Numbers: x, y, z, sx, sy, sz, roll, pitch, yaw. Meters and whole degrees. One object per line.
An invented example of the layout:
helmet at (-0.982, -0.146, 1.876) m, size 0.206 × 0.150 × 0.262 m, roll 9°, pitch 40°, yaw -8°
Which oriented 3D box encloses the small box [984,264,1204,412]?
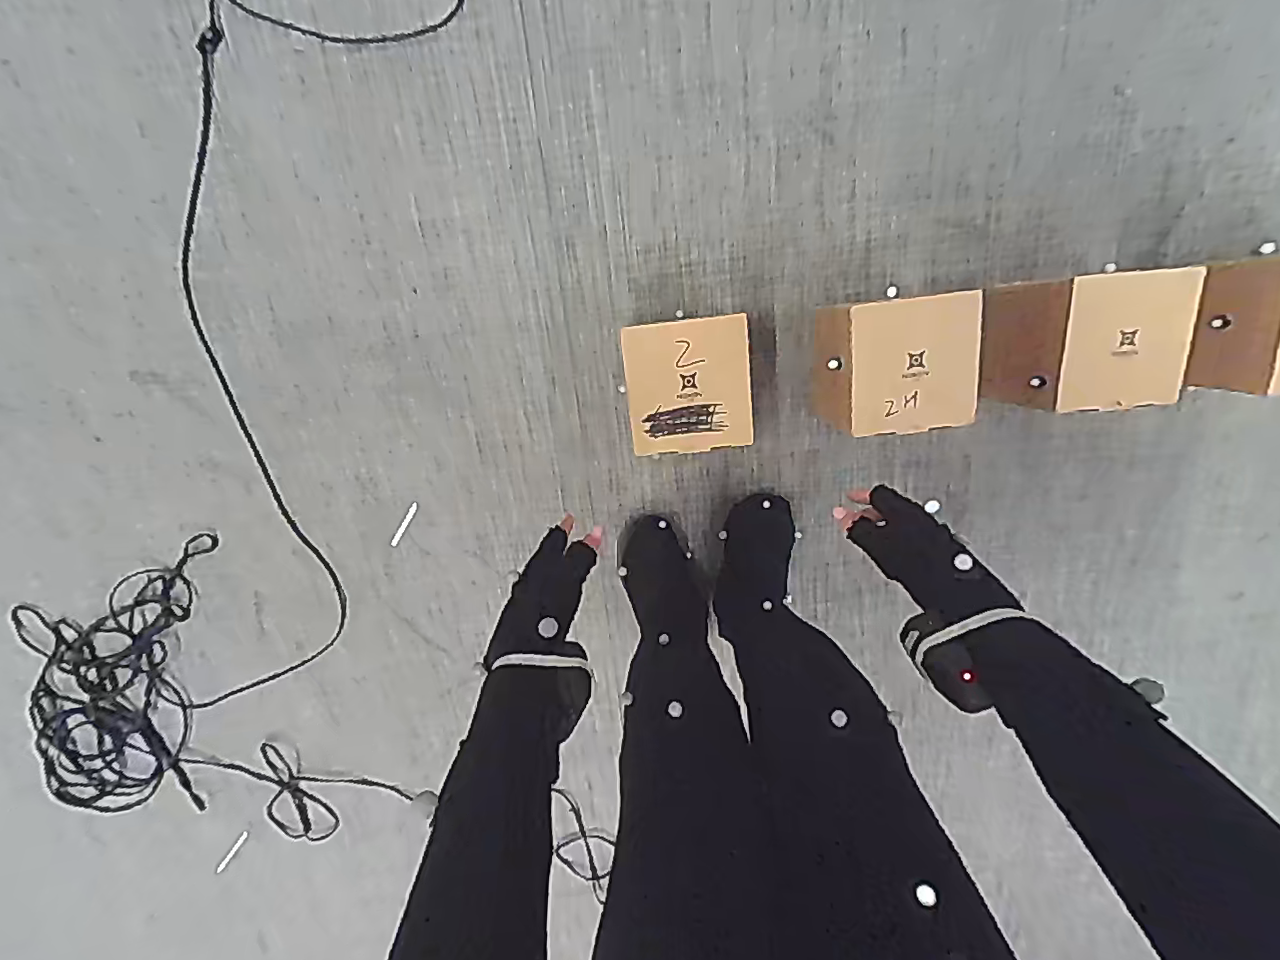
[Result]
small box at (0.624, -0.200, 0.769) m, size 0.168 × 0.176 × 0.179 m, roll -4°, pitch 107°, yaw 2°

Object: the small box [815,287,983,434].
small box at (0.356, -0.173, 0.776) m, size 0.168 × 0.176 × 0.179 m, roll -6°, pitch 107°, yaw 3°

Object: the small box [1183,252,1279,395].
small box at (0.891, -0.226, 0.759) m, size 0.168 × 0.176 × 0.179 m, roll -7°, pitch 106°, yaw 2°
